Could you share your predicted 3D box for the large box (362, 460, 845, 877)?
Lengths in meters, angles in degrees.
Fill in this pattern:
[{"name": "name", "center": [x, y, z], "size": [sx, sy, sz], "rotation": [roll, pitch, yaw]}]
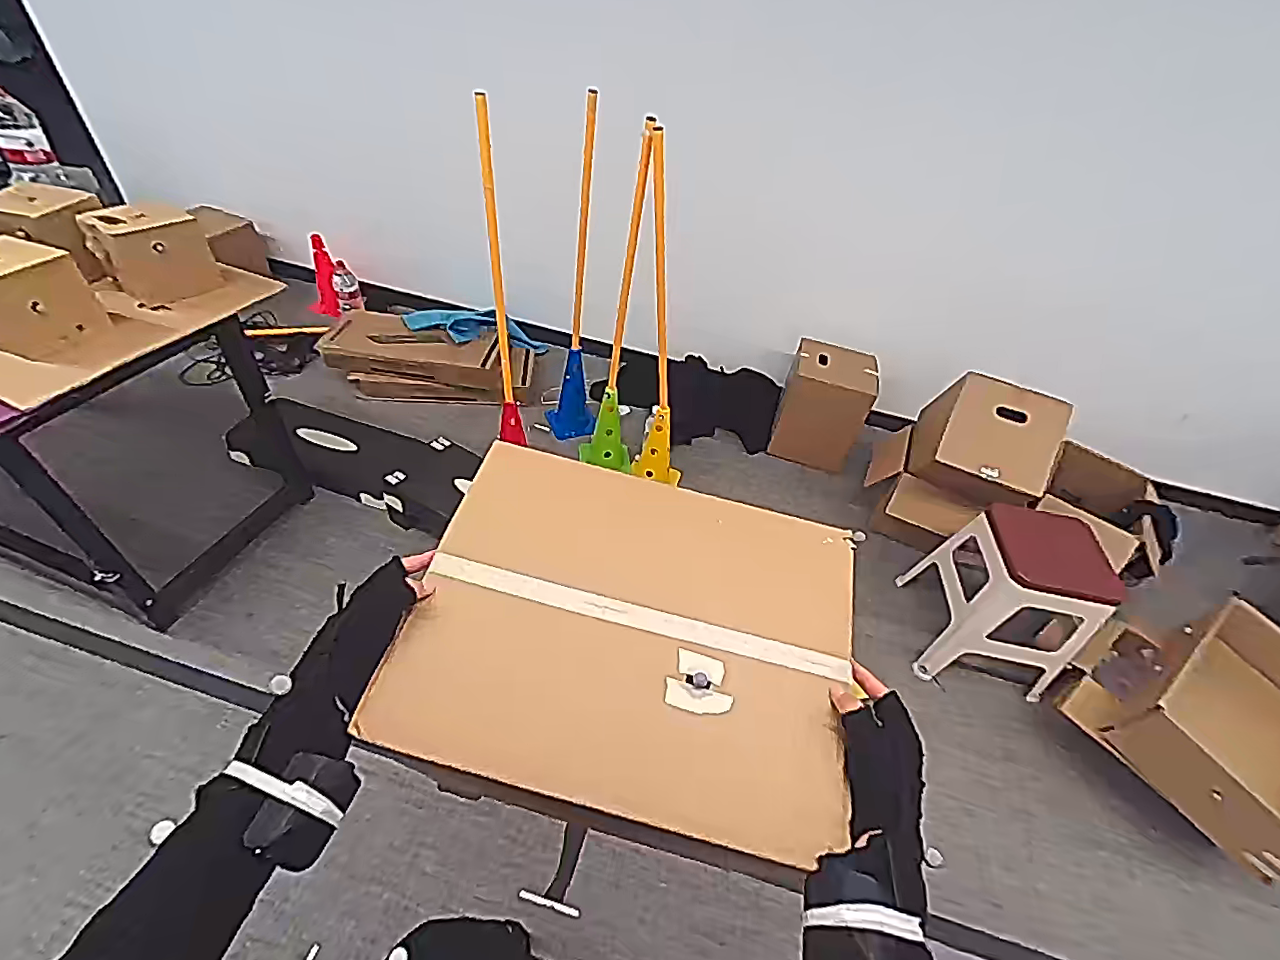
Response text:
[{"name": "large box", "center": [-0.020, 0.226, 0.634], "size": [0.408, 0.320, 0.320], "rotation": [15, 56, 3]}]
